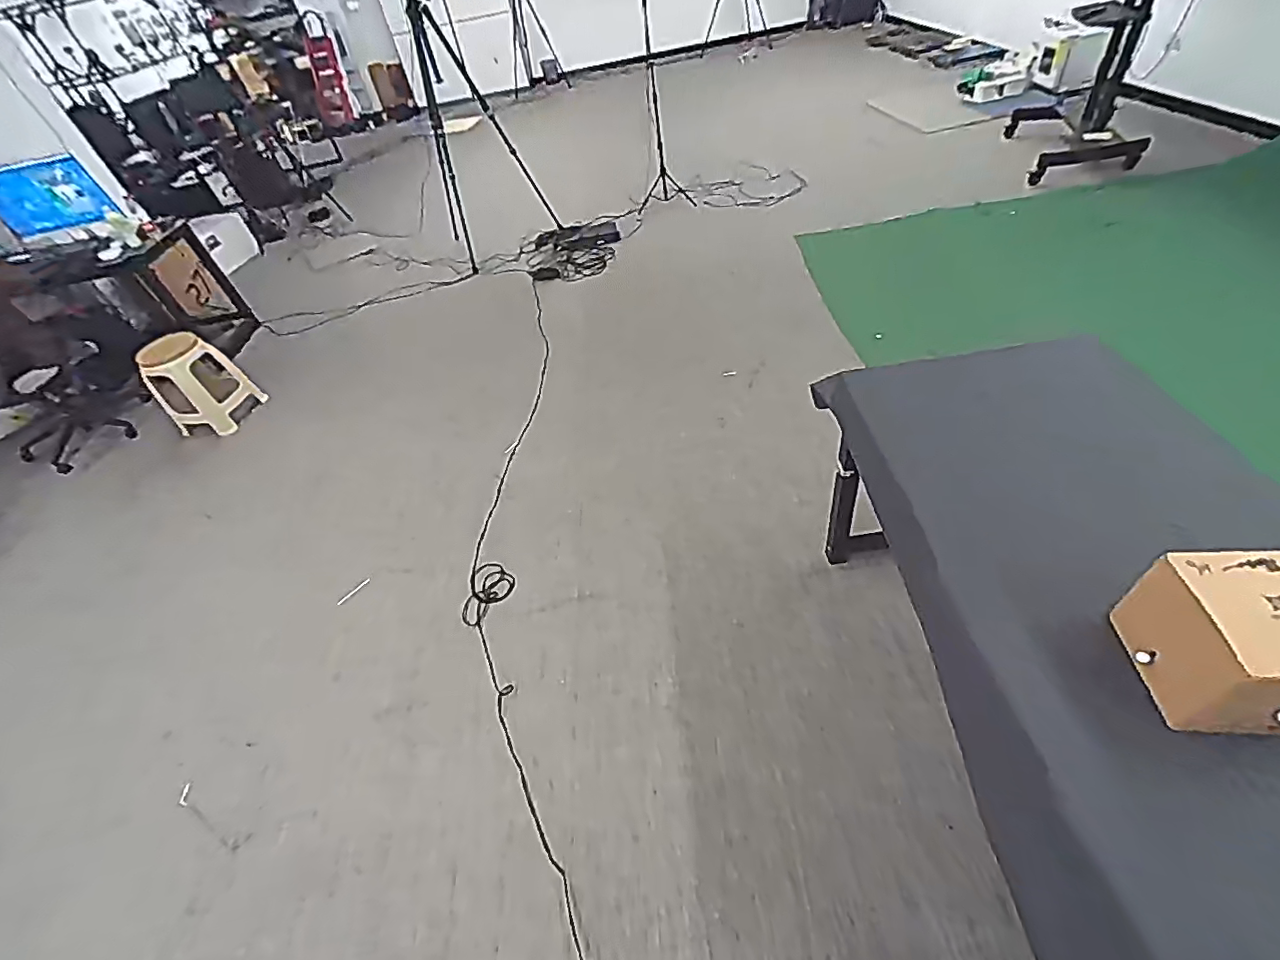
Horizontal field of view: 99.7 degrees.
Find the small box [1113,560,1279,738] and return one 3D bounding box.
[{"bbox_3d":[0.783,0.223,0.708,0.168,0.176,0.179,-2,47,11],"label":"small box"}]
